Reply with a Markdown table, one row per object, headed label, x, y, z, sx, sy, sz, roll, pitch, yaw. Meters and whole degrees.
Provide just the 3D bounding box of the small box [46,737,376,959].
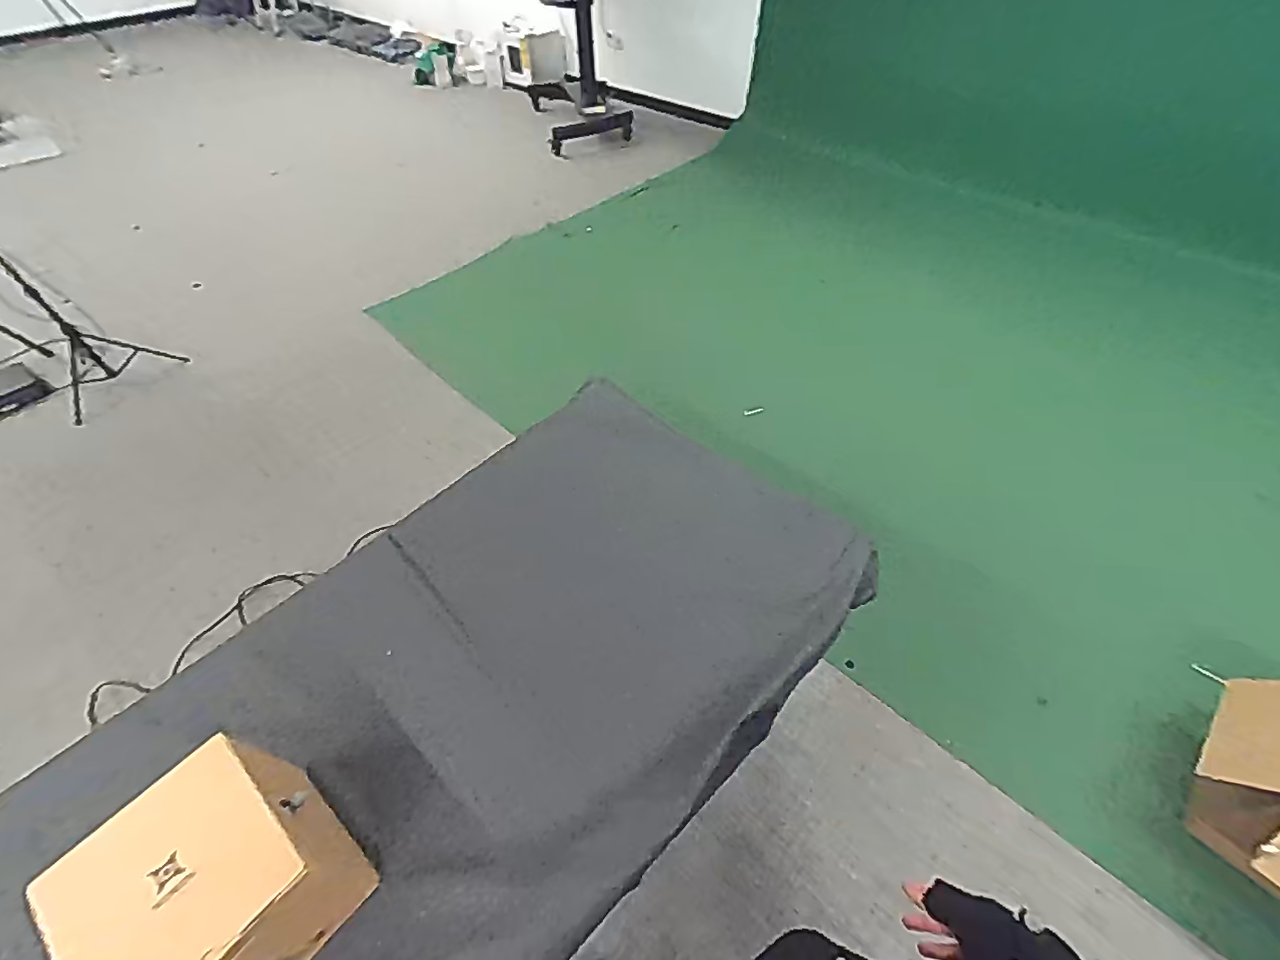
| label | x | y | z | sx | sy | sz | roll | pitch | yaw |
| --- | --- | --- | --- | --- | --- | --- | --- | --- | --- |
| small box | -0.405 | 0.402 | 0.538 | 0.179 | 0.176 | 0.168 | 33 | 57 | 25 |
